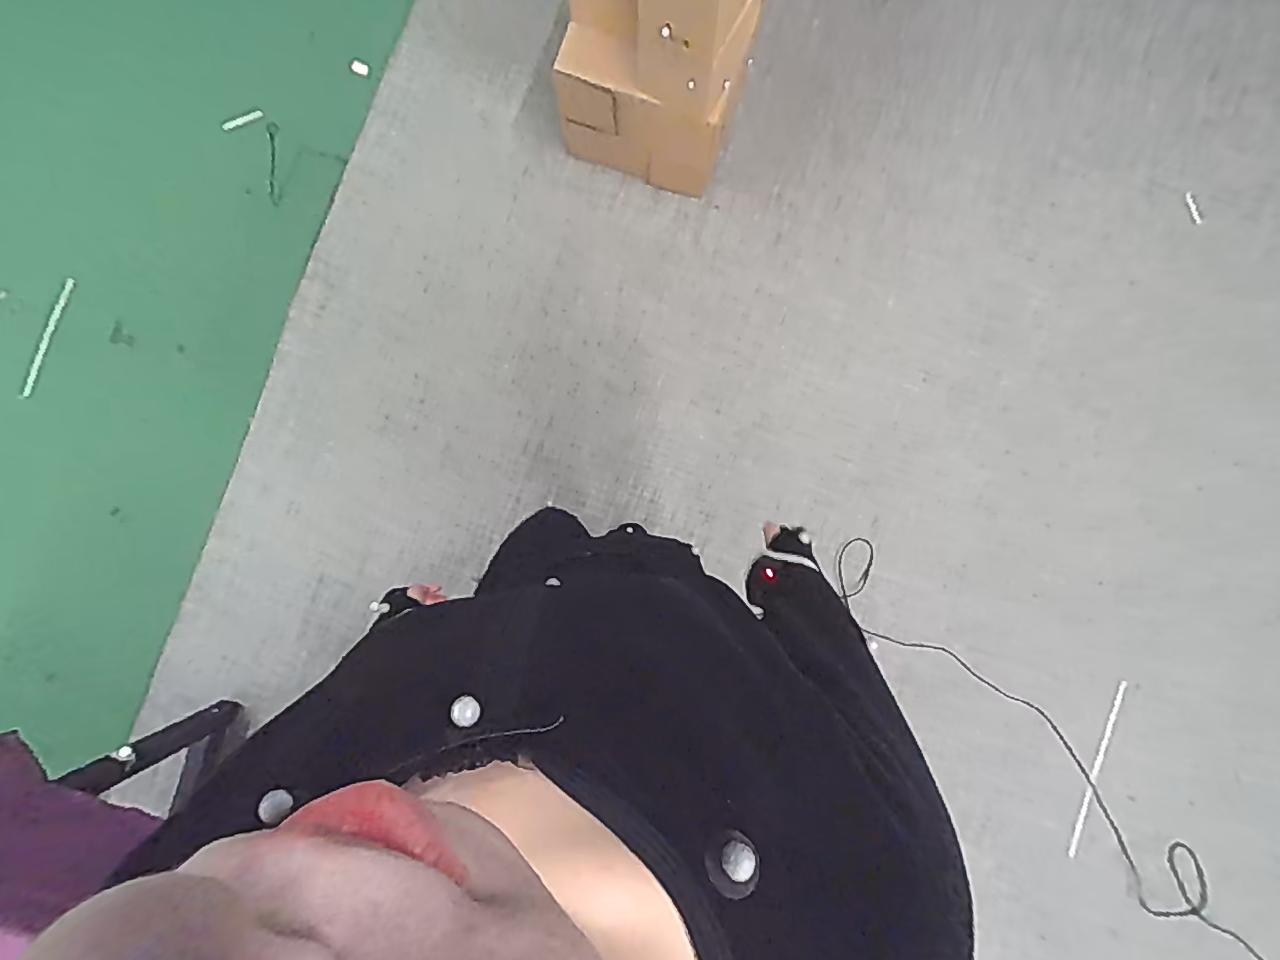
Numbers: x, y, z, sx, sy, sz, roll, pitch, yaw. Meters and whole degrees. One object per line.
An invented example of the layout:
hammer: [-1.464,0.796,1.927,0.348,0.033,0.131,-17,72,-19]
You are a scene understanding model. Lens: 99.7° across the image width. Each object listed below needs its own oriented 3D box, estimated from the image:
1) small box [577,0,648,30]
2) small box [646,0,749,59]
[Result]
small box: [-0.038,-1.122,1.155,0.179,0.176,0.168,19,86,2]
small box: [0.116,-0.933,0.979,0.168,0.176,0.179,29,88,2]
